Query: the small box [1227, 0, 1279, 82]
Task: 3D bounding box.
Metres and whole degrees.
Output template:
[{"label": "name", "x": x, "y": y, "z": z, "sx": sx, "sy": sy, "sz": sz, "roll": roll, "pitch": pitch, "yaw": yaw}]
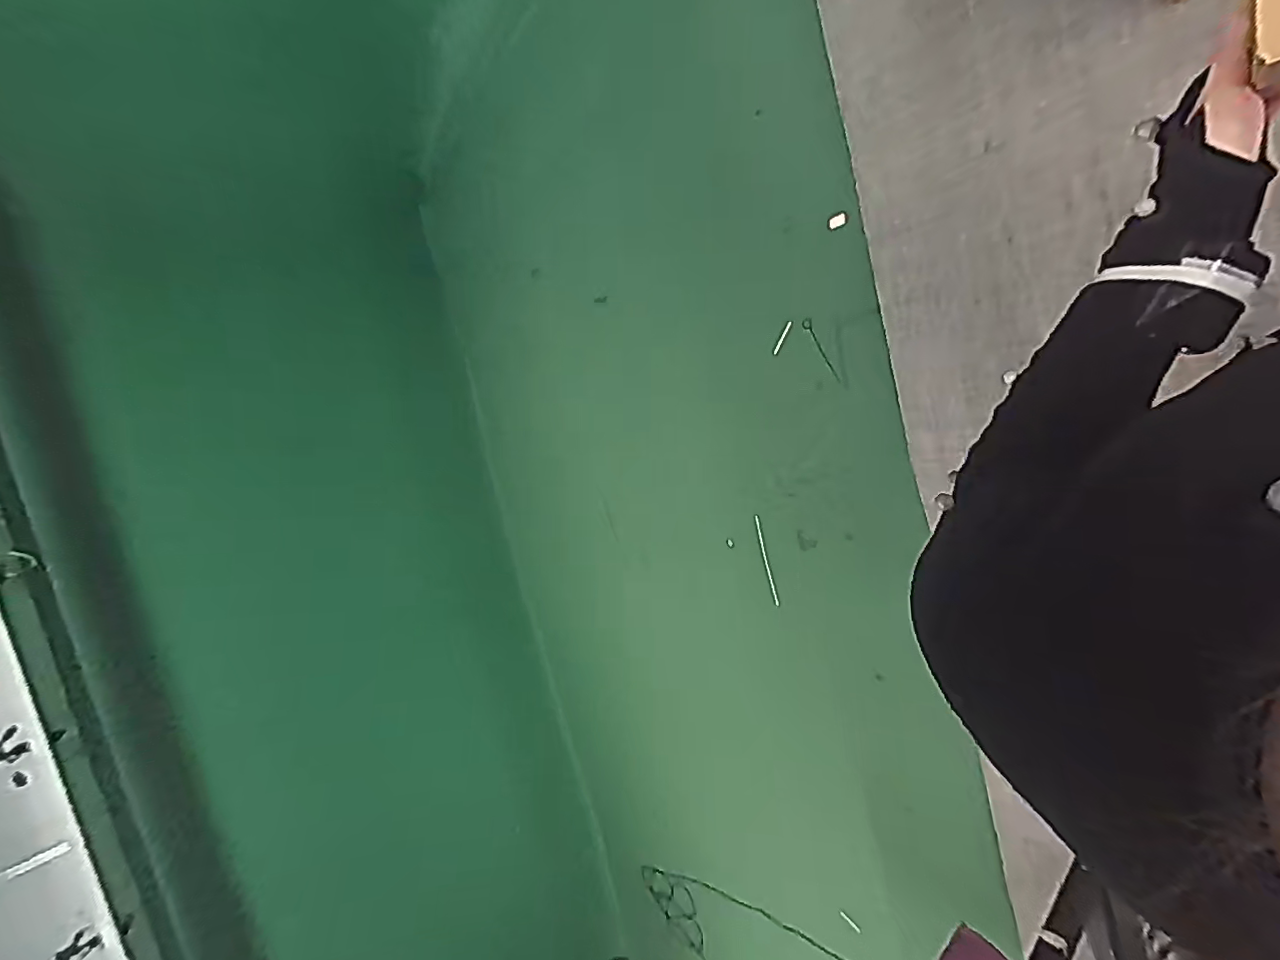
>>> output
[{"label": "small box", "x": 0.406, "y": -0.330, "z": 0.261, "sx": 0.168, "sy": 0.176, "sz": 0.179, "roll": -3, "pitch": 105, "yaw": 48}]
